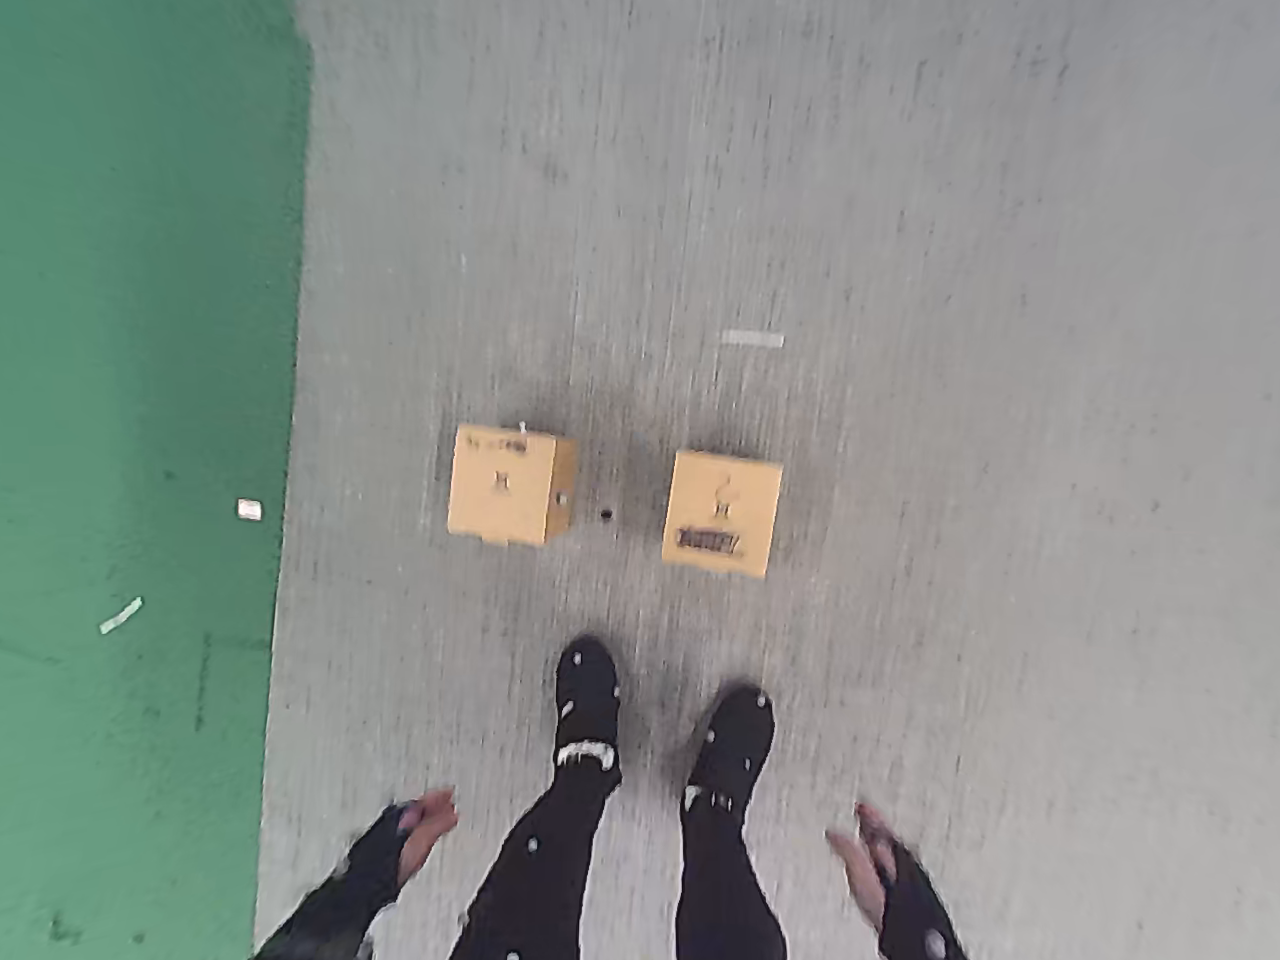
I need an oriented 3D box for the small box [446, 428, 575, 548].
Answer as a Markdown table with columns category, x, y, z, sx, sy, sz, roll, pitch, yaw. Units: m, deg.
| category | x | y | z | sx | sy | sz | roll | pitch | yaw |
| --- | --- | --- | --- | --- | --- | --- | --- | --- | --- |
| small box | -0.217 | 0.009 | 0.944 | 0.168 | 0.176 | 0.179 | 8 | 93 | 6 |
